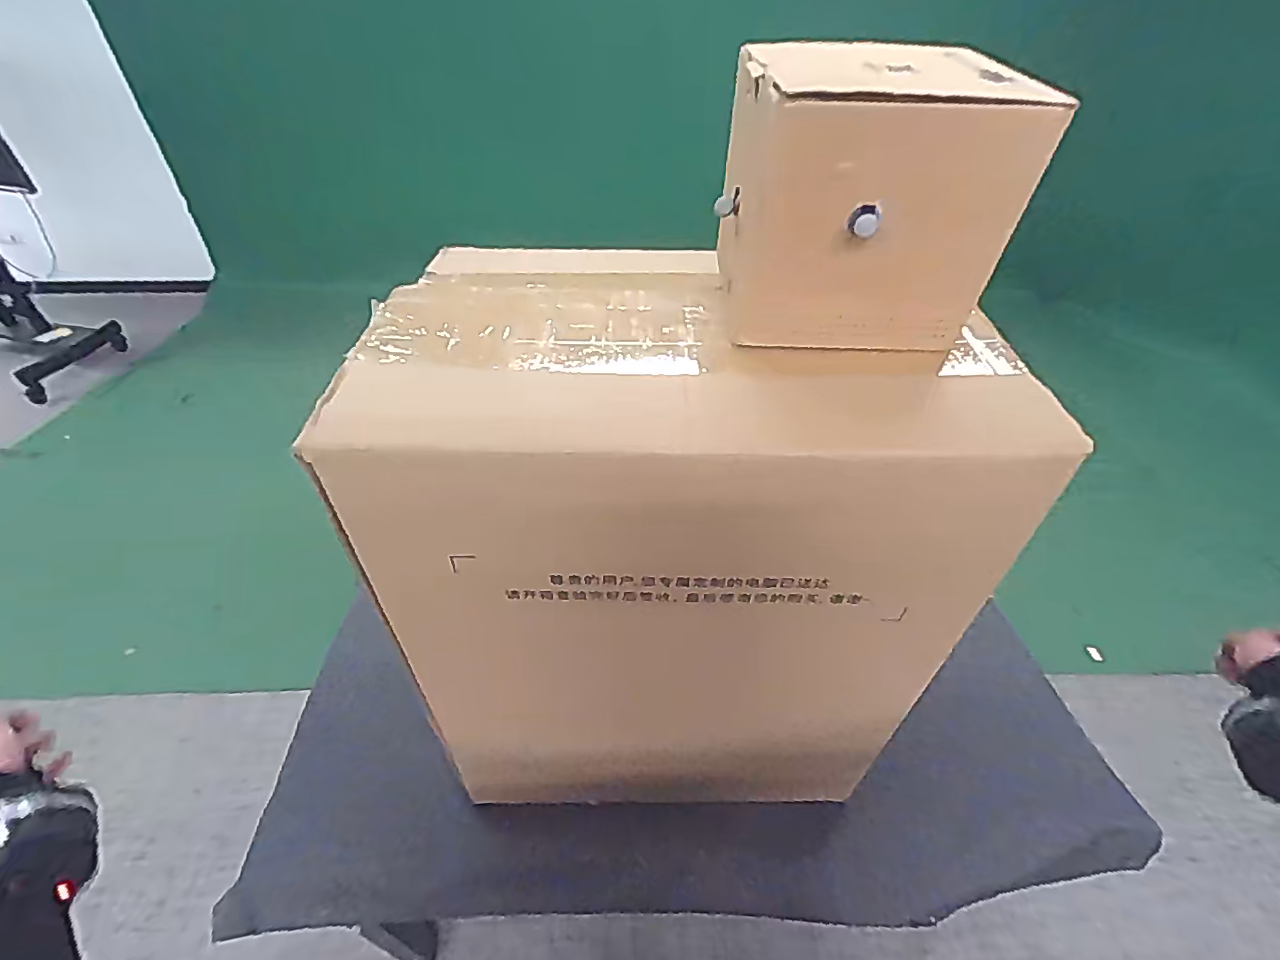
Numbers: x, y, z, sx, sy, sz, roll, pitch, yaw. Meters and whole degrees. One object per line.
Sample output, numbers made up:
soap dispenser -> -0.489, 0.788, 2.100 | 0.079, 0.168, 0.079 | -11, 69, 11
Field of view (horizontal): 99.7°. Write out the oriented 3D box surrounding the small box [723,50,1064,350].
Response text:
small box -> 0.162, -0.217, 0.424 | 0.179, 0.176, 0.168 | 1, 47, 0
